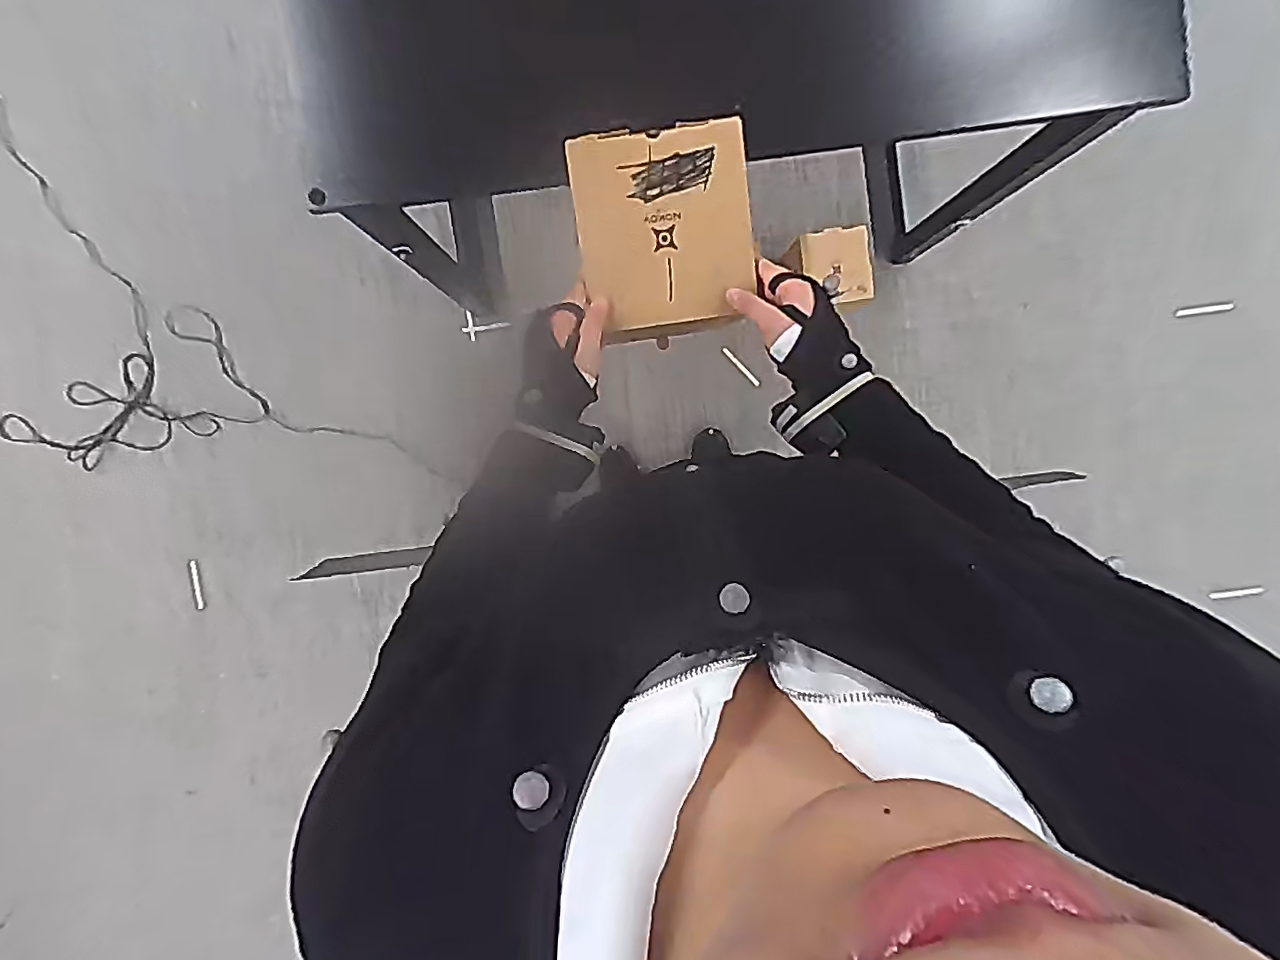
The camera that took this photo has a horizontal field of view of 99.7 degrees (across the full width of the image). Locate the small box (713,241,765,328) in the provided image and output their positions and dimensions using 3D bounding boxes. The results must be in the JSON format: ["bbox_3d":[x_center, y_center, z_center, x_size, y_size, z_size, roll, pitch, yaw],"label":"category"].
[{"bbox_3d":[0.209,-0.491,1.384,0.179,0.176,0.168,-8,93,1],"label":"small box"}]

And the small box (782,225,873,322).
[{"bbox_3d":[0.470,-0.520,1.381,0.168,0.176,0.179,-8,94,1],"label":"small box"}]

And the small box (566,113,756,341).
[{"bbox_3d":[0.019,-0.254,0.586,0.168,0.176,0.179,-8,101,0],"label":"small box"}]
